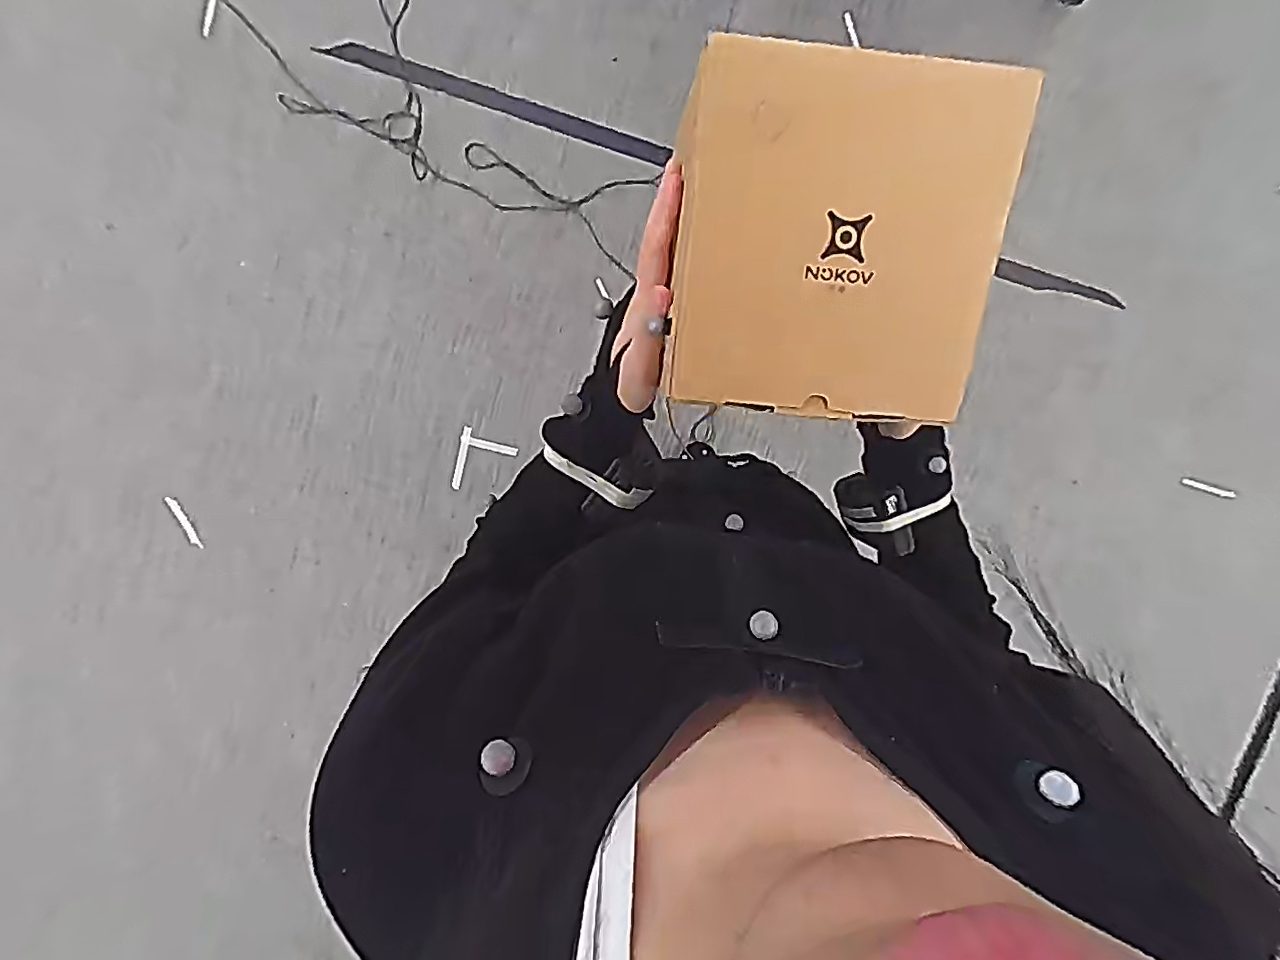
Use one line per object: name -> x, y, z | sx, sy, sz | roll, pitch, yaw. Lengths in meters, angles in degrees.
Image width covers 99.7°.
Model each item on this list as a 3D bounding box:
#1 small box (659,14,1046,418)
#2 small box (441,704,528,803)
small box -> 0.103, -0.145, 0.350 | 0.168, 0.176, 0.179 | 4, 105, -2
small box -> -0.414, 0.731, 1.465 | 0.179, 0.176, 0.168 | 10, 96, -2
